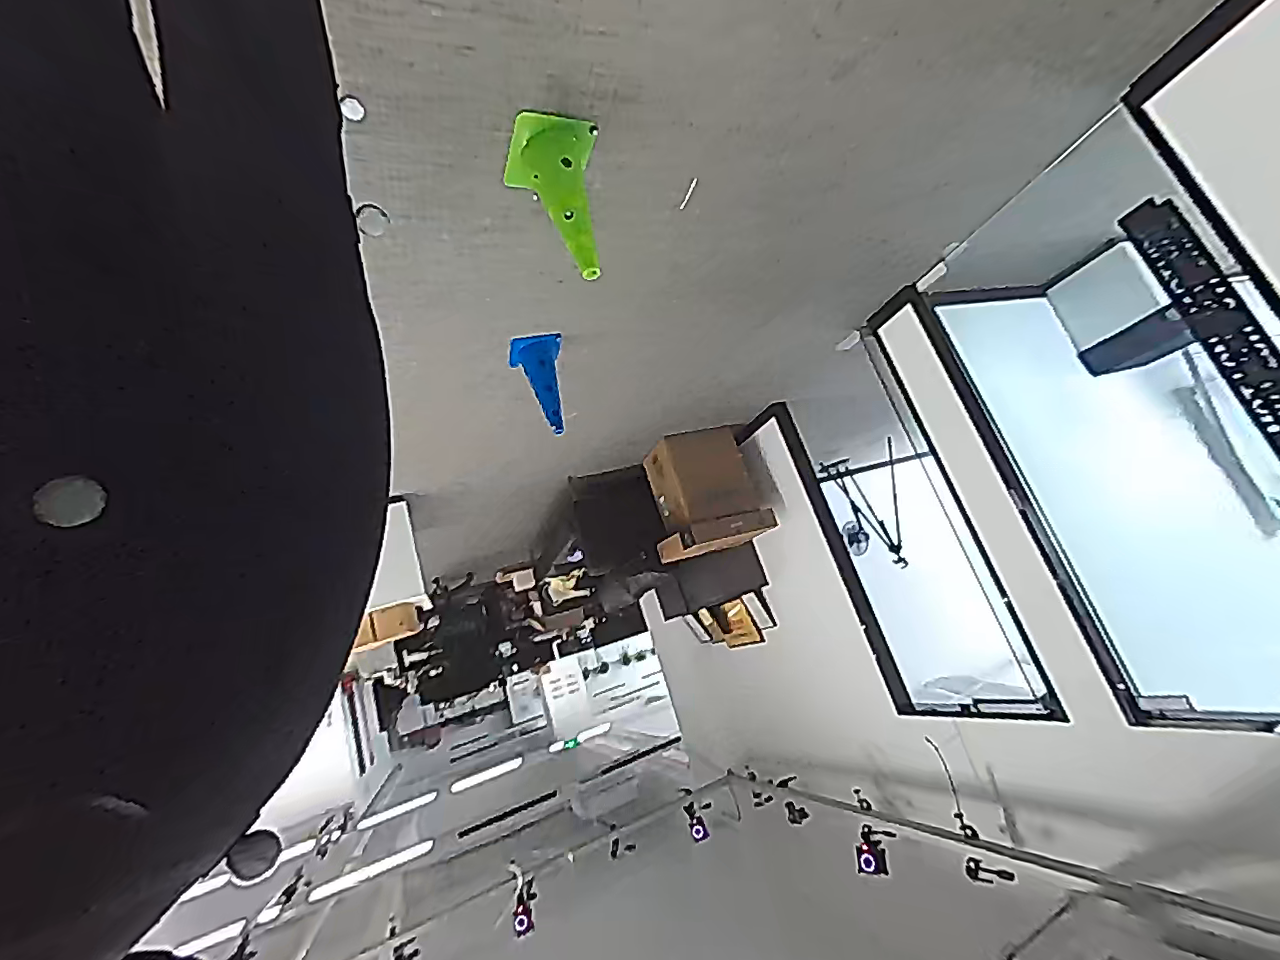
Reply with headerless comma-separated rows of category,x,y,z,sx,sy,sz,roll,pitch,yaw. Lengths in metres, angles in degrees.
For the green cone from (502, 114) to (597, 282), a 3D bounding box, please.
green cone,-0.172,-0.630,1.267,0.200,0.368,0.202,-11,164,-27
